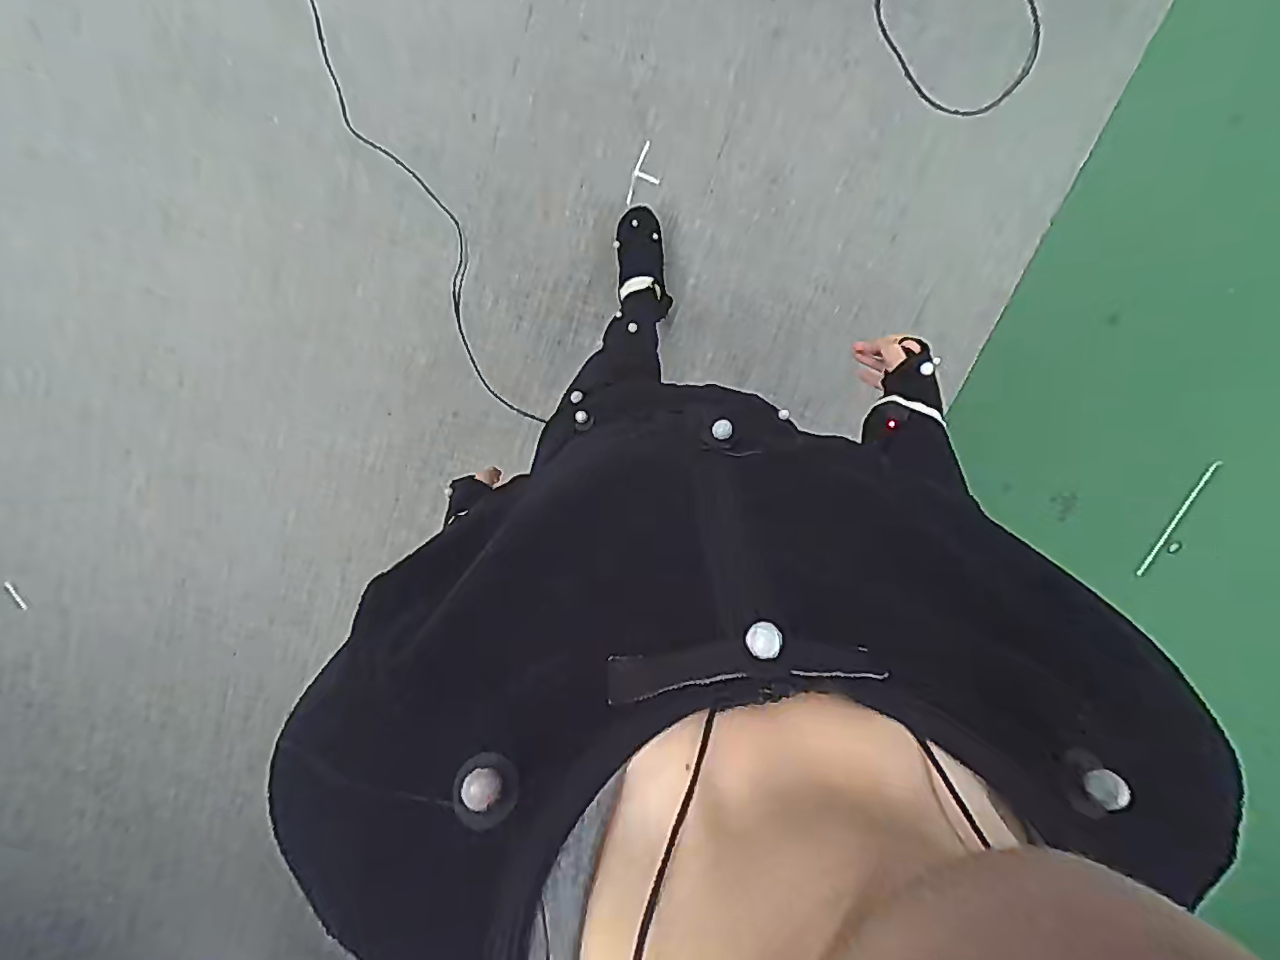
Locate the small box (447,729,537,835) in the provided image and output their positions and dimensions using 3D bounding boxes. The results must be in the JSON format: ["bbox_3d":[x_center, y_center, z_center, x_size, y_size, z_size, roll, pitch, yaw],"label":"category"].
[{"bbox_3d":[-0.394,0.808,1.461,0.179,0.176,0.168,17,104,-6],"label":"small box"}]
